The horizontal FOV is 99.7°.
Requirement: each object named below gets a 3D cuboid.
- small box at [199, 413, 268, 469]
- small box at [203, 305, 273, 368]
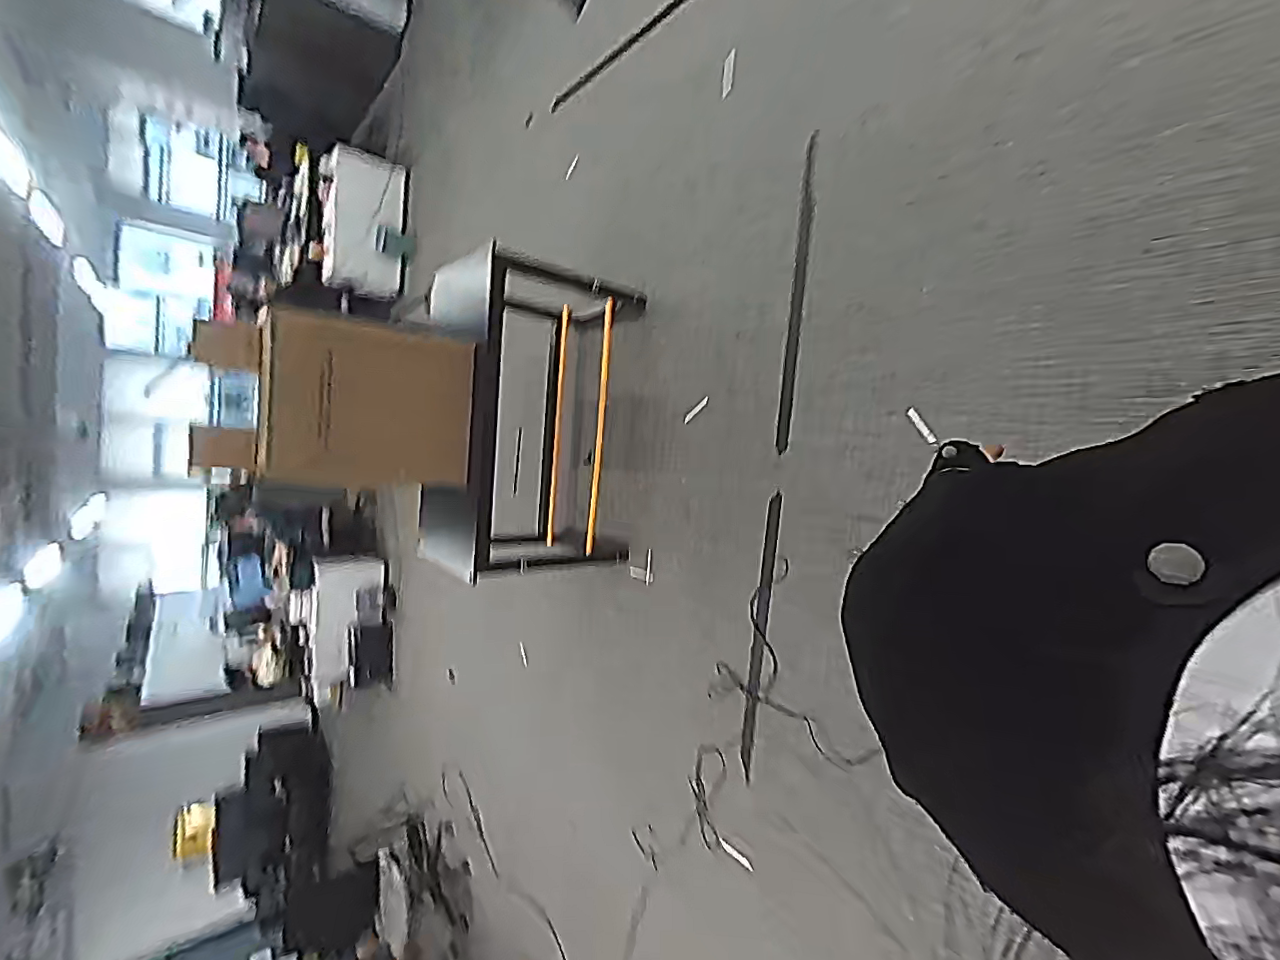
[{"bbox_3d":[-1.308,-0.123,1.739,0.179,0.176,0.168,2,89,51],"label":"small box"},{"bbox_3d":[-1.275,-0.448,1.713,0.179,0.176,0.168,12,100,51],"label":"small box"}]
